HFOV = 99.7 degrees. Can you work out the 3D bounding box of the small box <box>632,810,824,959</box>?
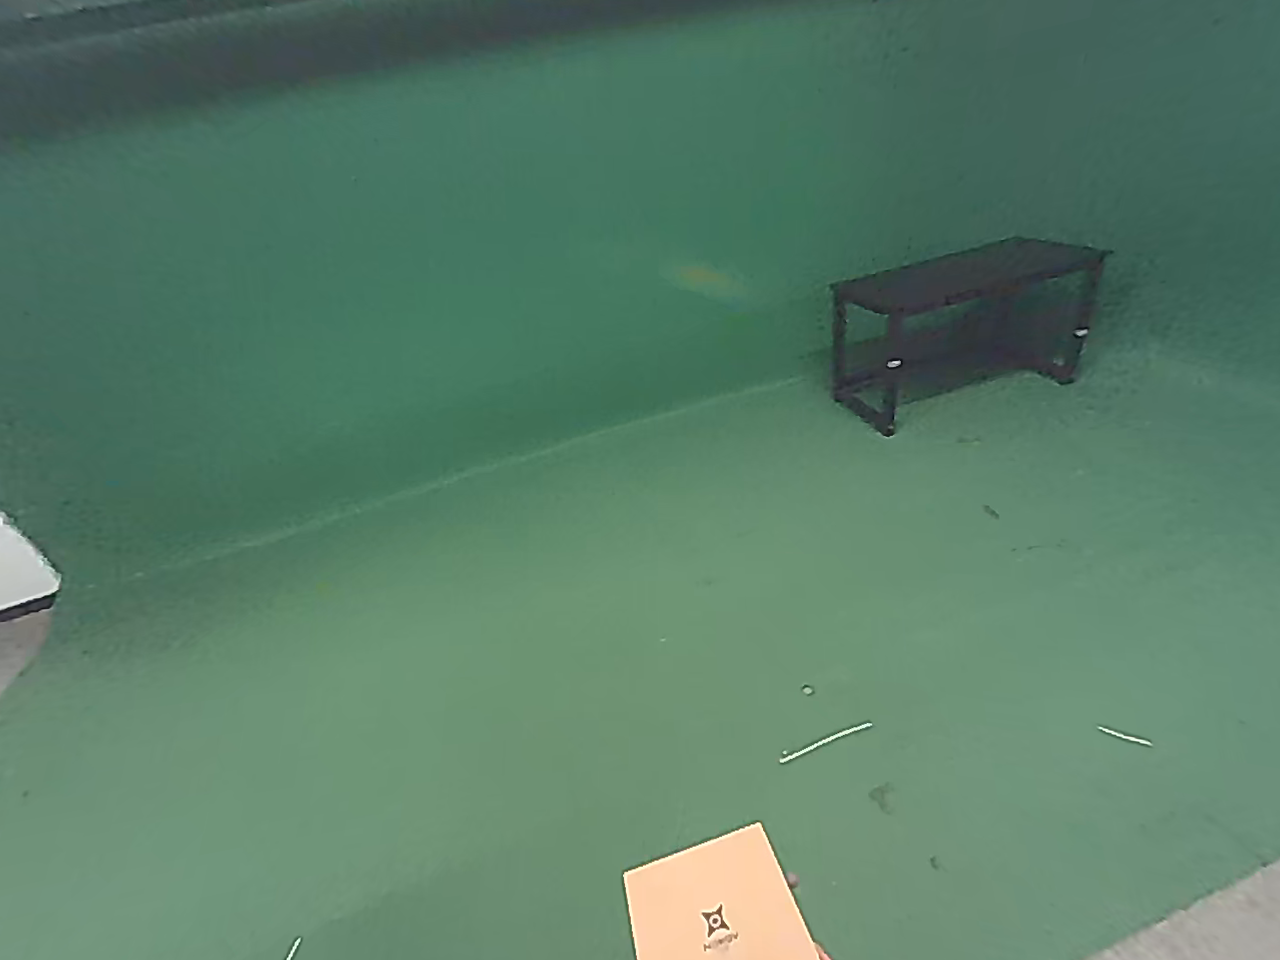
[{"bbox_3d":[0.099,0.507,0.575,0.168,0.176,0.179,-18,22,-3],"label":"small box"}]
